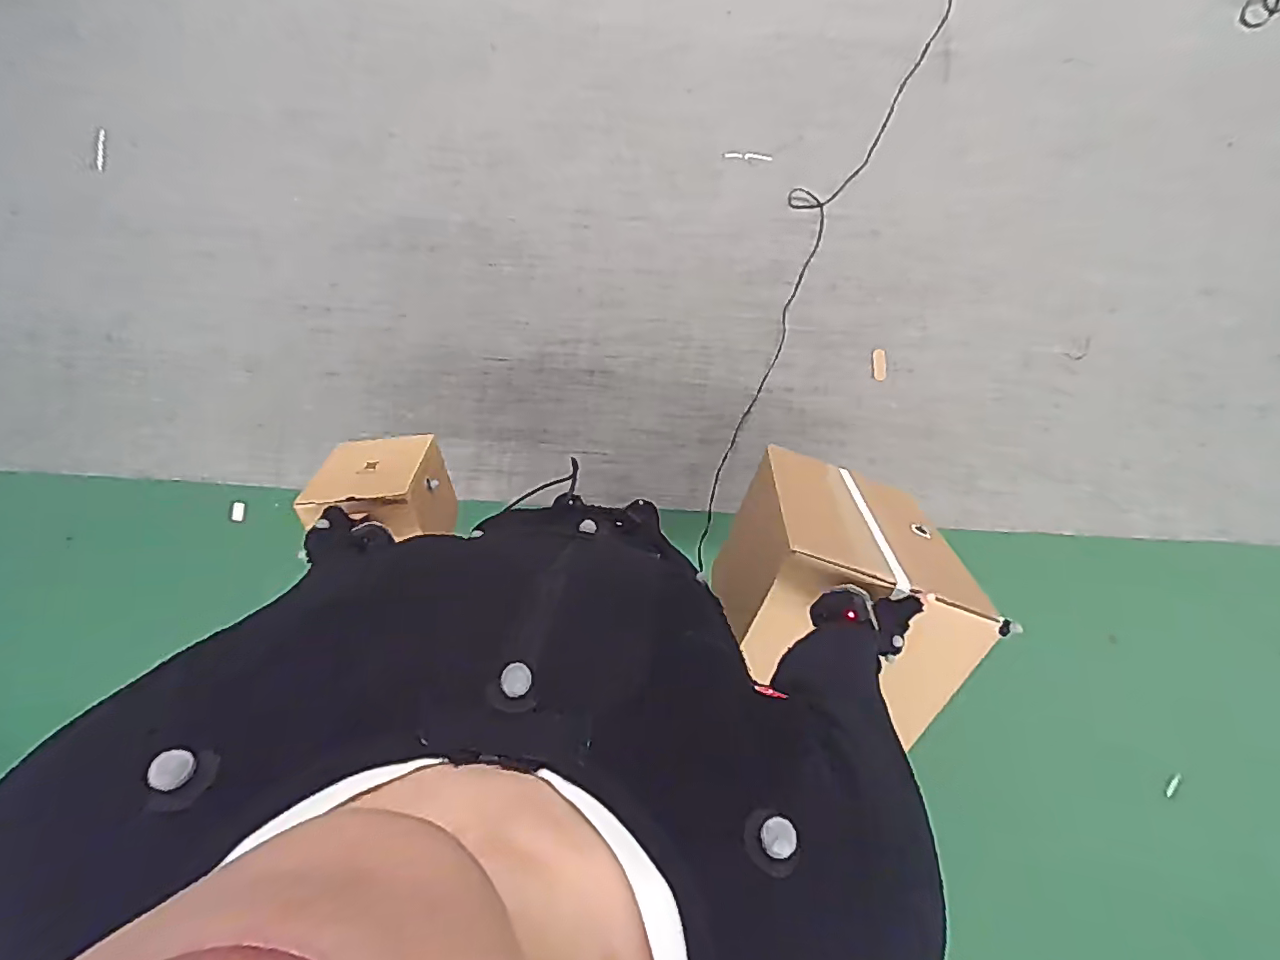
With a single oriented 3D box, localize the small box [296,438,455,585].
[{"bbox_3d":[-0.422,0.051,0.902,0.168,0.179,0.176,-6,126,-1],"label":"small box"}]
